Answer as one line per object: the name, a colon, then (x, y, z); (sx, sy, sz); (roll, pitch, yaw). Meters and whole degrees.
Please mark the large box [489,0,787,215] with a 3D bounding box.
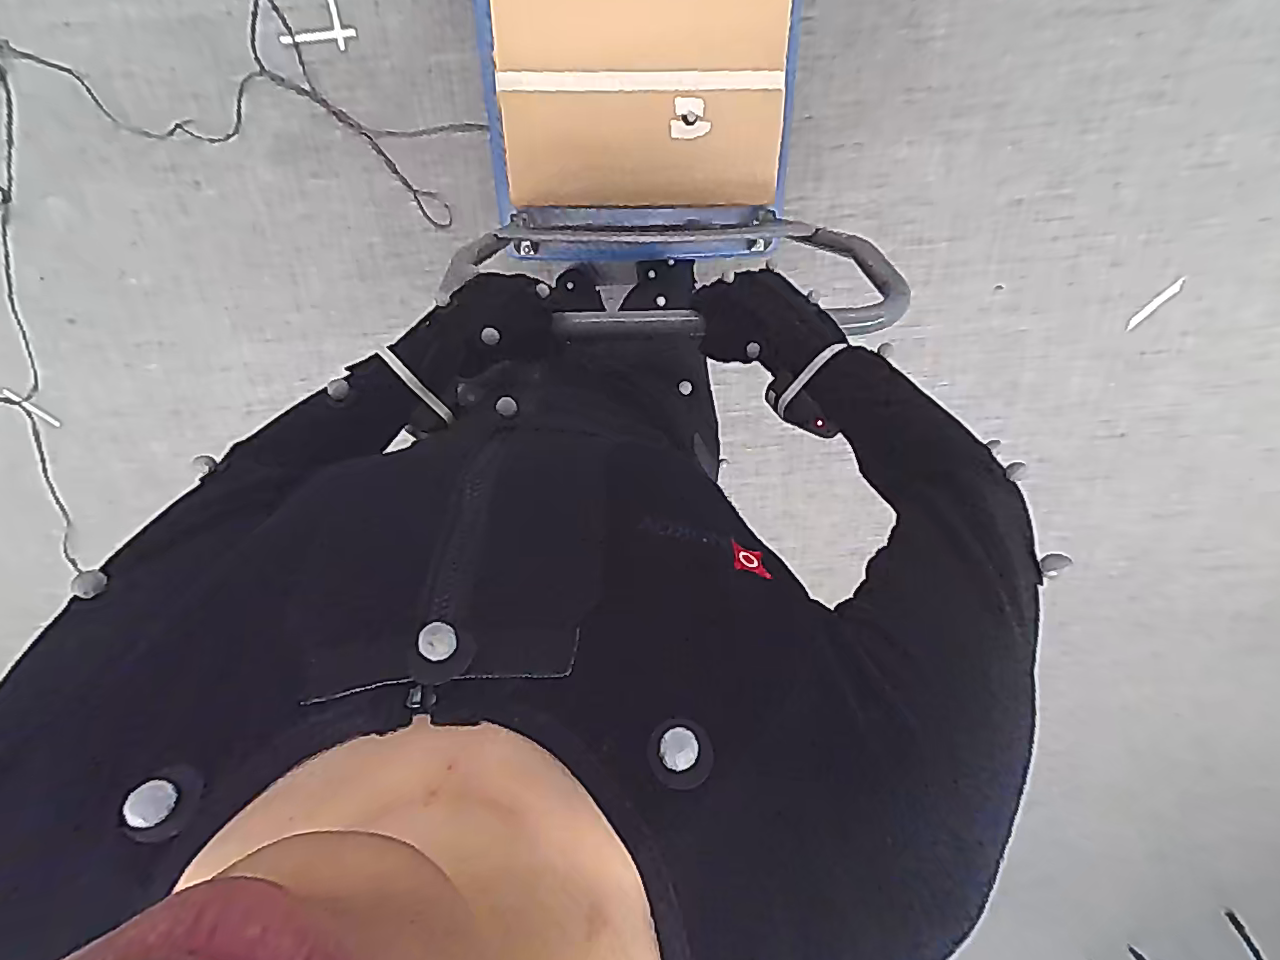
large box: (-0.008, -0.615, 0.891); (0.408, 0.320, 0.320); (-2, 117, -3)
